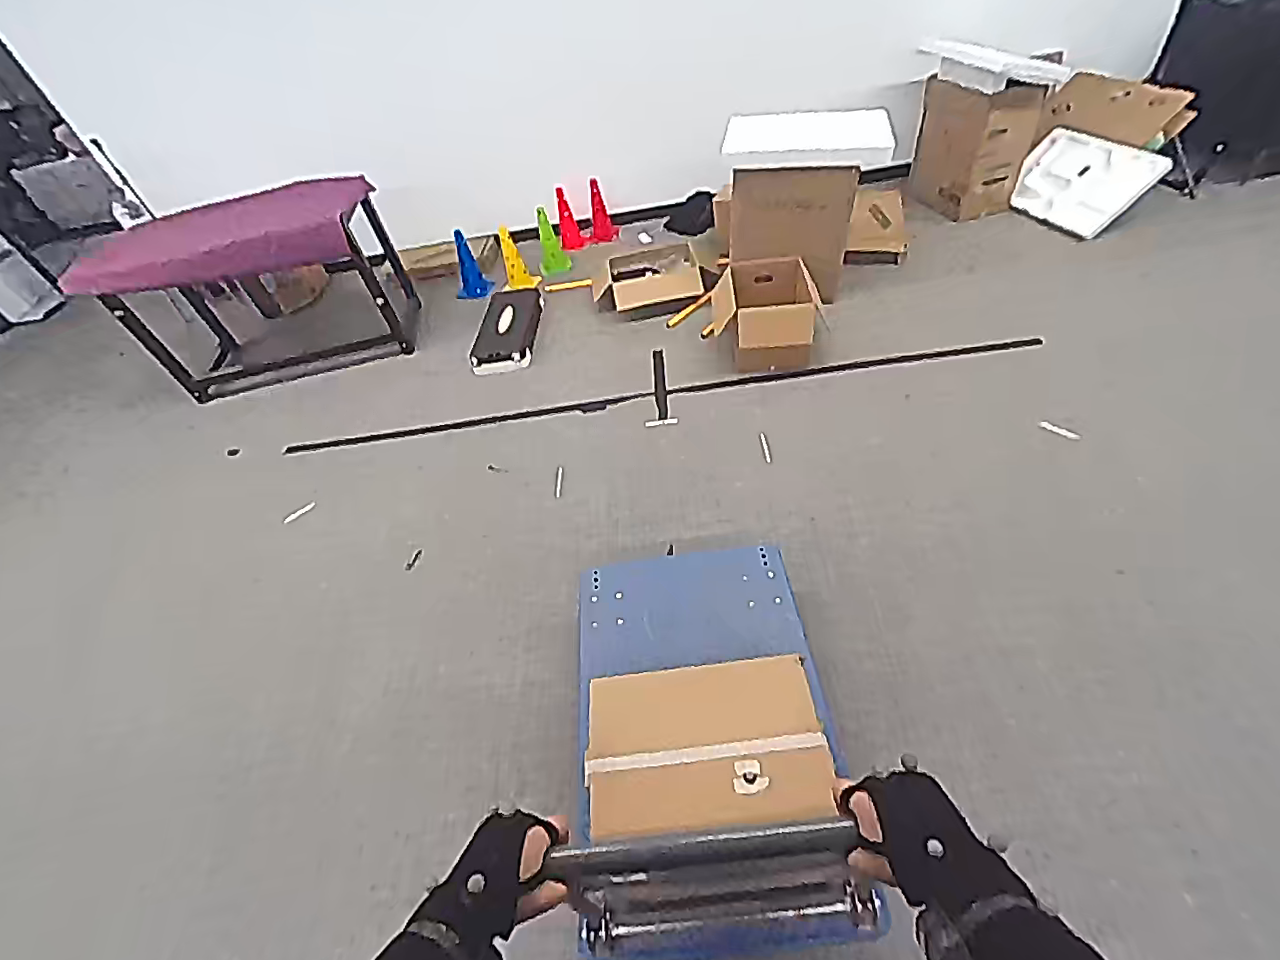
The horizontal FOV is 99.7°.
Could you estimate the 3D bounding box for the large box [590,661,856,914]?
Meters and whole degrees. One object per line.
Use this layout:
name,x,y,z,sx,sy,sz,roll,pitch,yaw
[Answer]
large box,0.130,0.577,1.010,0.408,0.320,0.320,-8,46,2
